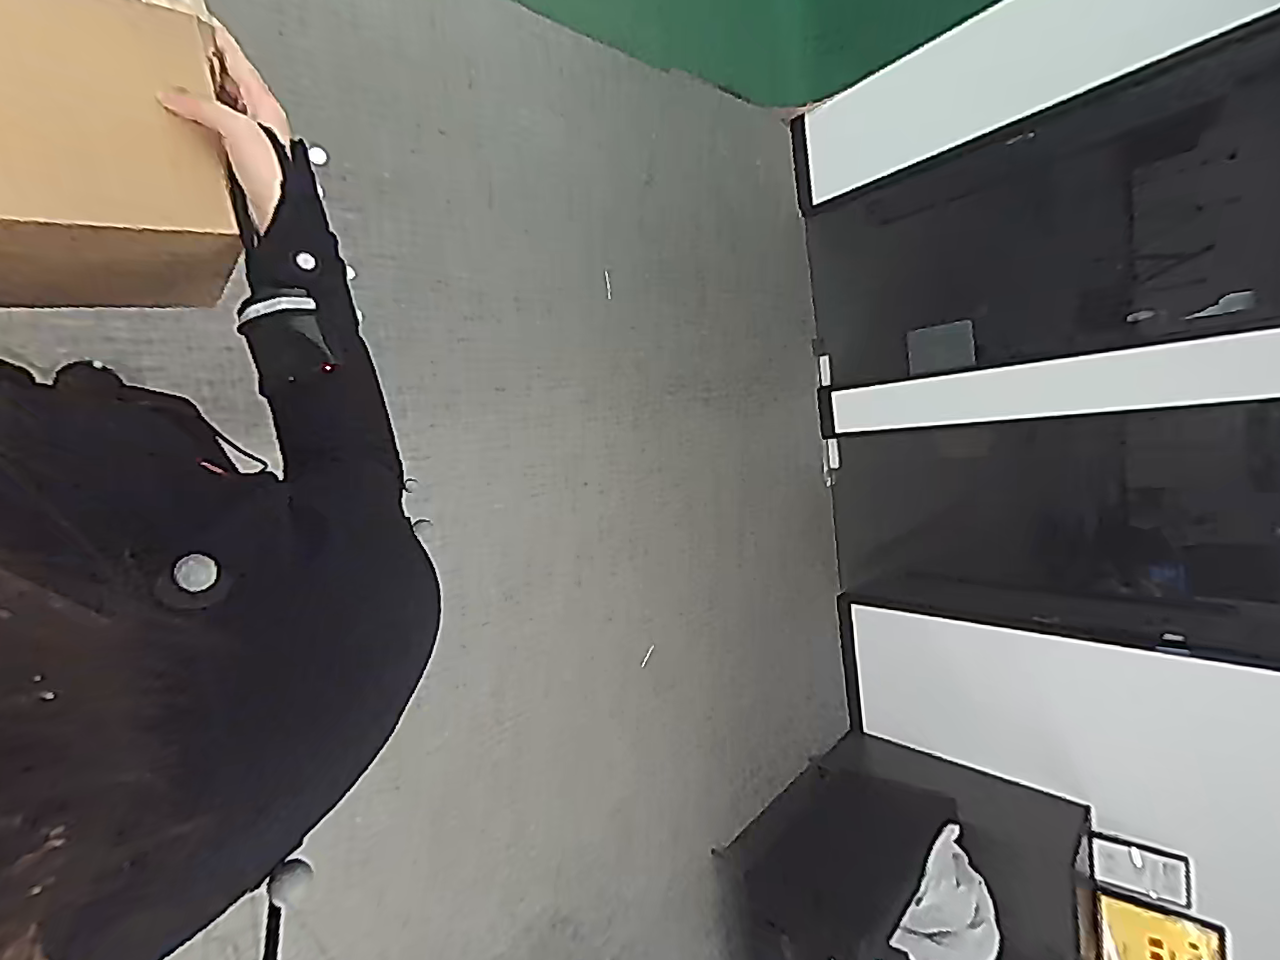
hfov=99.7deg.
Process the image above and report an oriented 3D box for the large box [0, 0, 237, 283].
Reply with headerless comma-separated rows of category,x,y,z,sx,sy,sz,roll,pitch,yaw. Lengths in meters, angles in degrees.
large box,-0.574,-0.321,0.378,0.408,0.320,0.320,-16,105,-39
